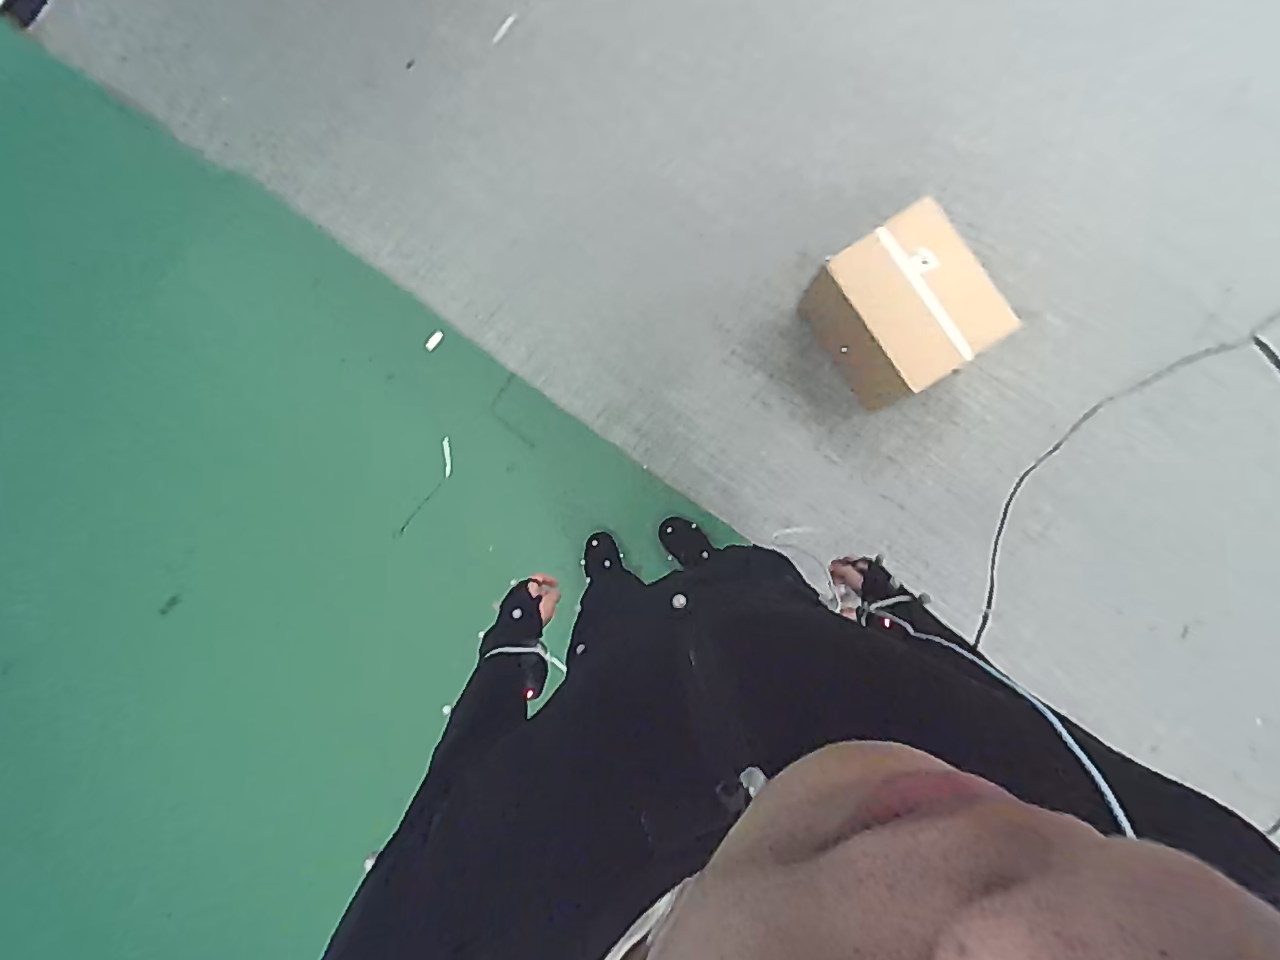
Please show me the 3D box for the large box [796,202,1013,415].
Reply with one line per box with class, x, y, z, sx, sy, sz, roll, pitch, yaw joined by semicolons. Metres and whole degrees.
large box;0.695;-0.445;1.492;0.320;0.320;0.408;-33;84;1
